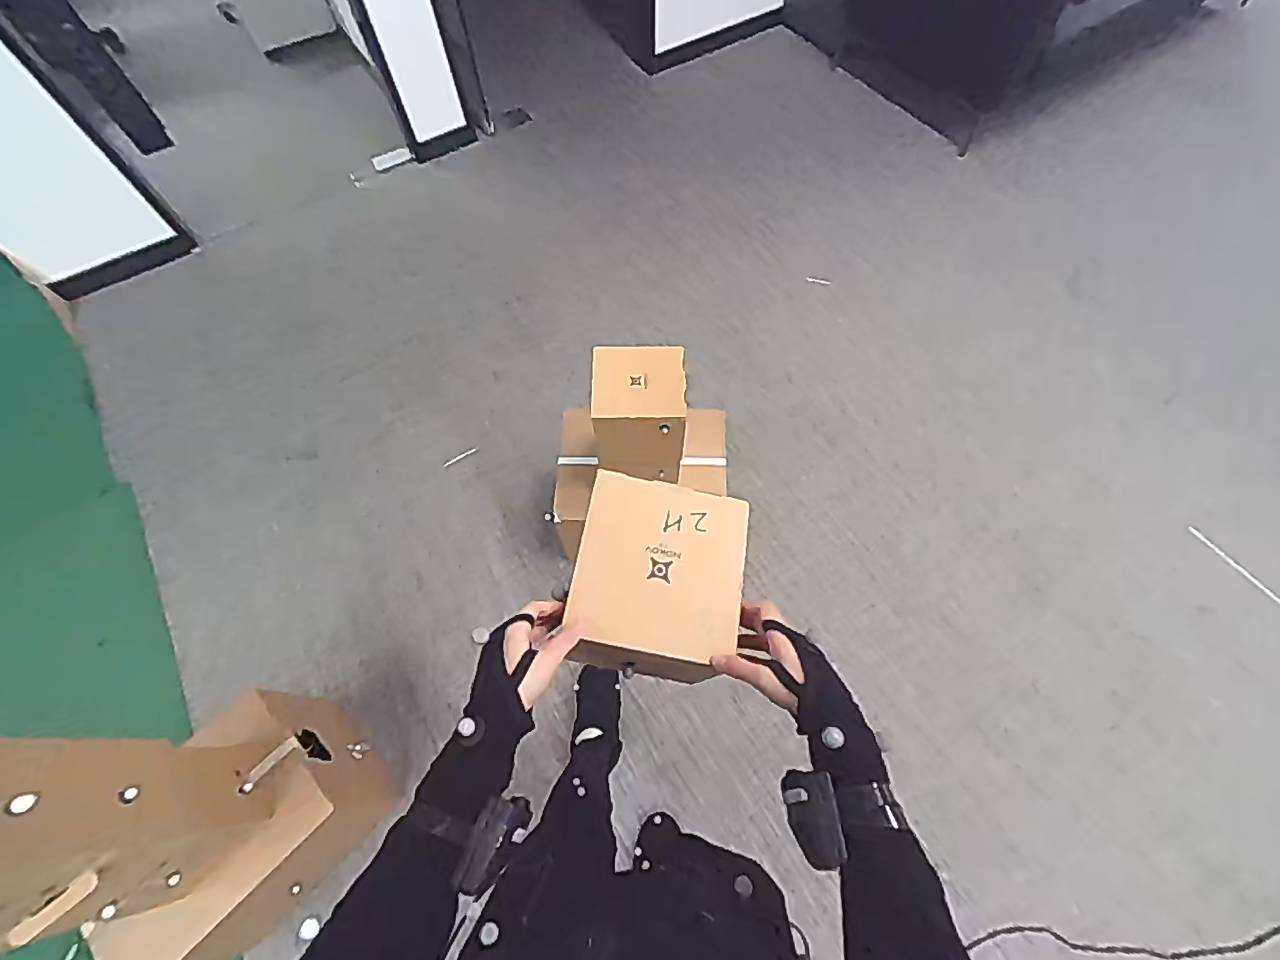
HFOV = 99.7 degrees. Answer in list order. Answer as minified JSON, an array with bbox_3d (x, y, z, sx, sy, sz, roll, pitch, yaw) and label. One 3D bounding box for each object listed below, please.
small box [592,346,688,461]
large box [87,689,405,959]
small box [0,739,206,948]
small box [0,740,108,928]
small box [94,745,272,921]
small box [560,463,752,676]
[{"bbox_3d":[0.001,-0.147,1.073,0.179,0.176,0.168,0,63,0],"label":"small box"},{"bbox_3d":[-0.791,0.706,1.120,0.320,0.320,0.408,39,72,20],"label":"large box"},{"bbox_3d":[-0.777,0.494,0.768,0.168,0.176,0.179,-38,69,-17],"label":"small box"},{"bbox_3d":[-0.785,0.421,0.621,0.168,0.176,0.179,-40,71,-17],"label":"small box"},{"bbox_3d":[-0.778,0.576,0.910,0.179,0.176,0.168,-40,70,-17],"label":"small box"},{"bbox_3d":[0.013,0.109,0.601,0.168,0.176,0.179,13,64,-3],"label":"small box"}]
